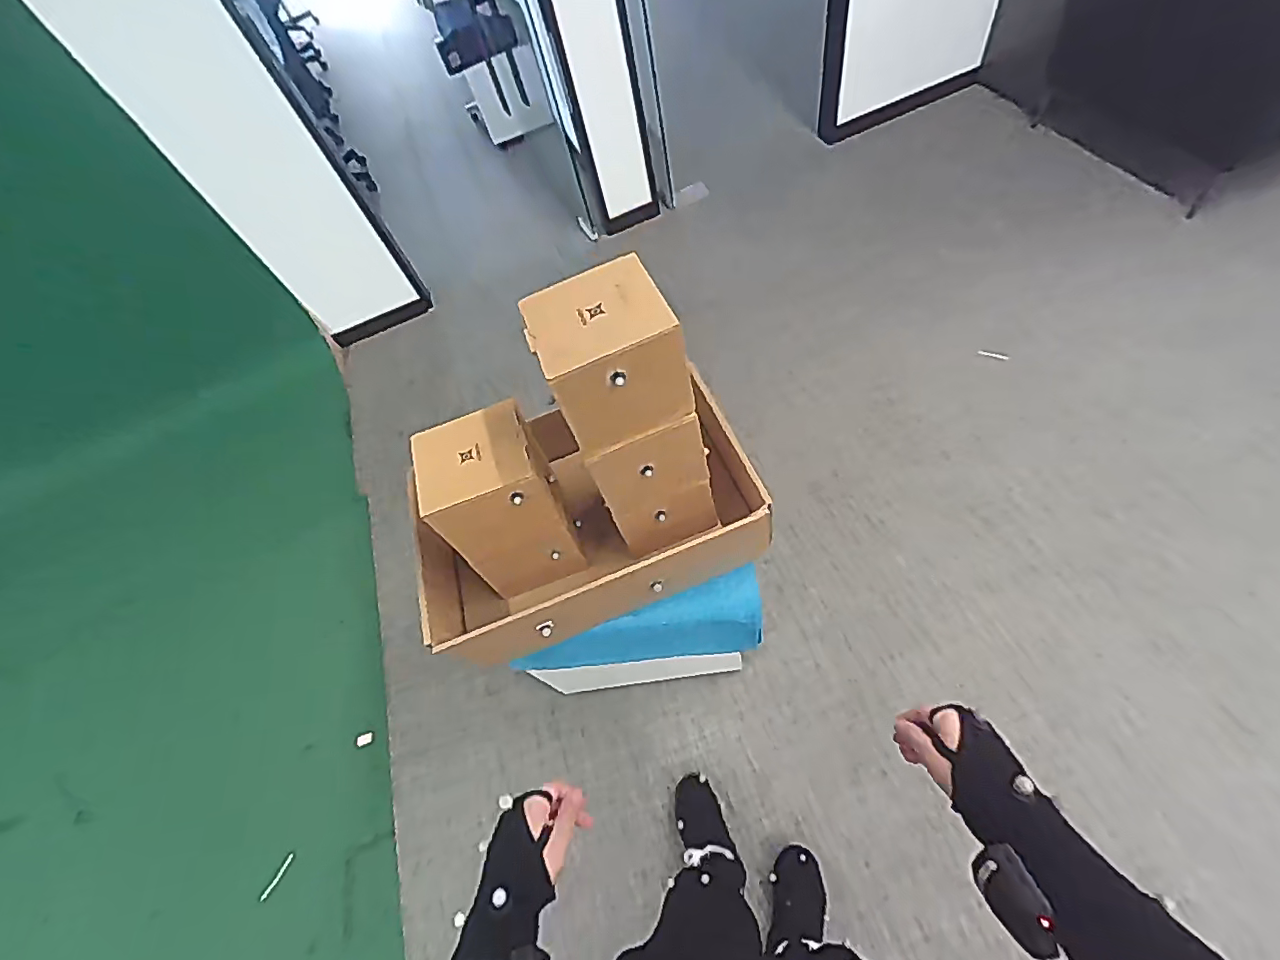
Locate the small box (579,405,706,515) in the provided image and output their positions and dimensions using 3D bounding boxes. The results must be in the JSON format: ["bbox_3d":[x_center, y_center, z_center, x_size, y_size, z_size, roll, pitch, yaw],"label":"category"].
[{"bbox_3d":[-0.003,-0.074,0.871,0.179,0.176,0.168,-24,54,0],"label":"small box"}]

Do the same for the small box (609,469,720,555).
[{"bbox_3d":[0.033,0.016,1.004,0.179,0.176,0.168,-22,55,1],"label":"small box"}]

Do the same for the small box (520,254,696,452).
[{"bbox_3d":[-0.039,-0.166,0.742,0.179,0.176,0.168,-23,55,0],"label":"small box"}]
